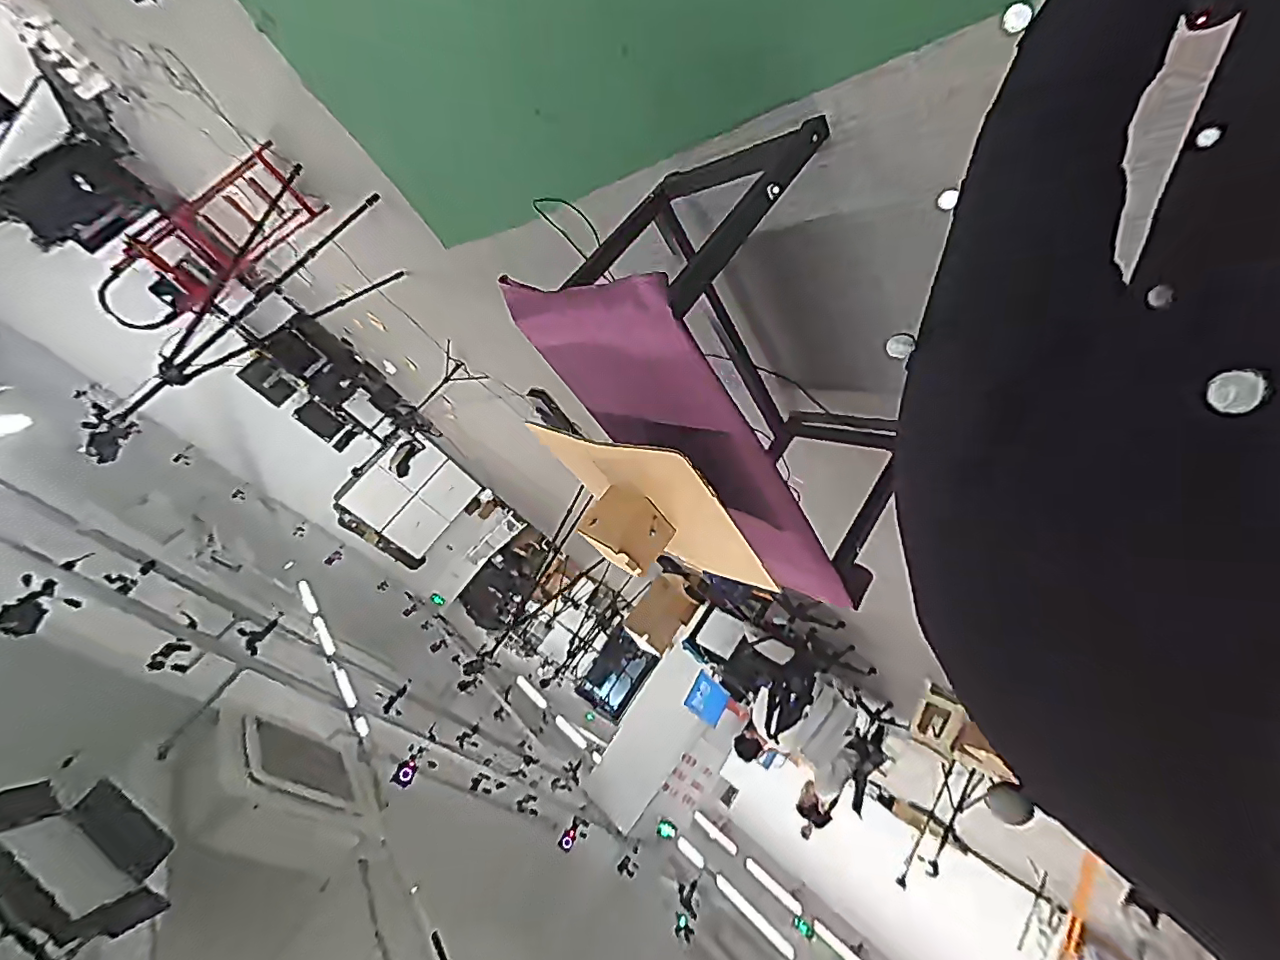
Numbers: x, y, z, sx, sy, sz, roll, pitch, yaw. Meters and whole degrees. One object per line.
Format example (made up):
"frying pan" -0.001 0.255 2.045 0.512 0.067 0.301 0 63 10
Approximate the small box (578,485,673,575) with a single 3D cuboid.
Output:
"small box" -0.038 0.136 1.545 0.179 0.176 0.168 19 156 48
